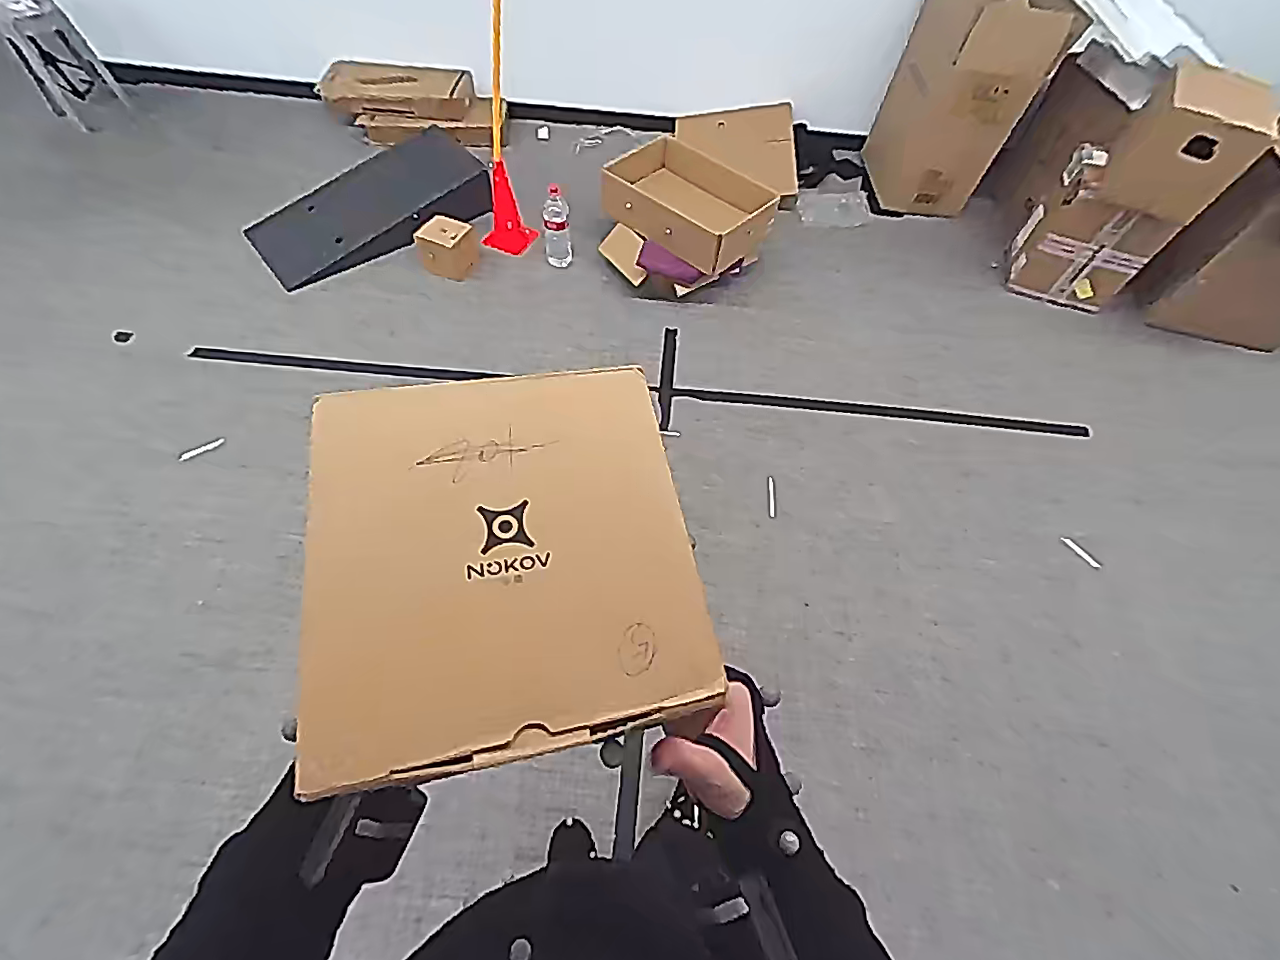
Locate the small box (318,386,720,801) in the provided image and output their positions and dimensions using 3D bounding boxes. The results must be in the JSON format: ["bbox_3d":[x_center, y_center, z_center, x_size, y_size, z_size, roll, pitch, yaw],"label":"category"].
[{"bbox_3d":[-0.070,0.069,0.324,0.168,0.176,0.179,-8,64,-13],"label":"small box"}]
